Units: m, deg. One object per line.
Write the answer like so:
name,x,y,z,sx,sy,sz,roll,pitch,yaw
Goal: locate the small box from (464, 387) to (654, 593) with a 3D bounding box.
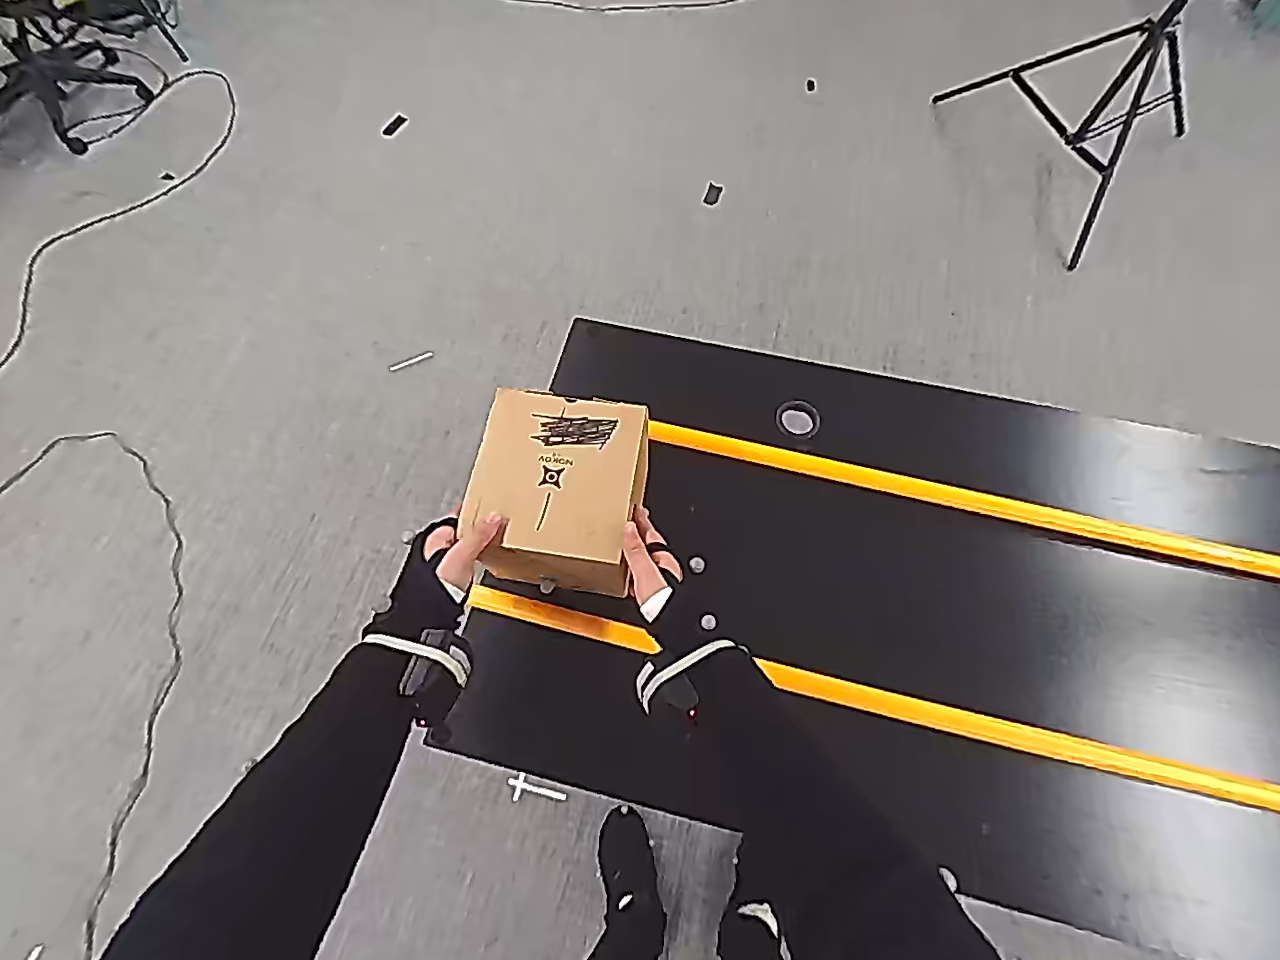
small box,-0.079,0.019,0.625,0.168,0.176,0.179,7,68,4
